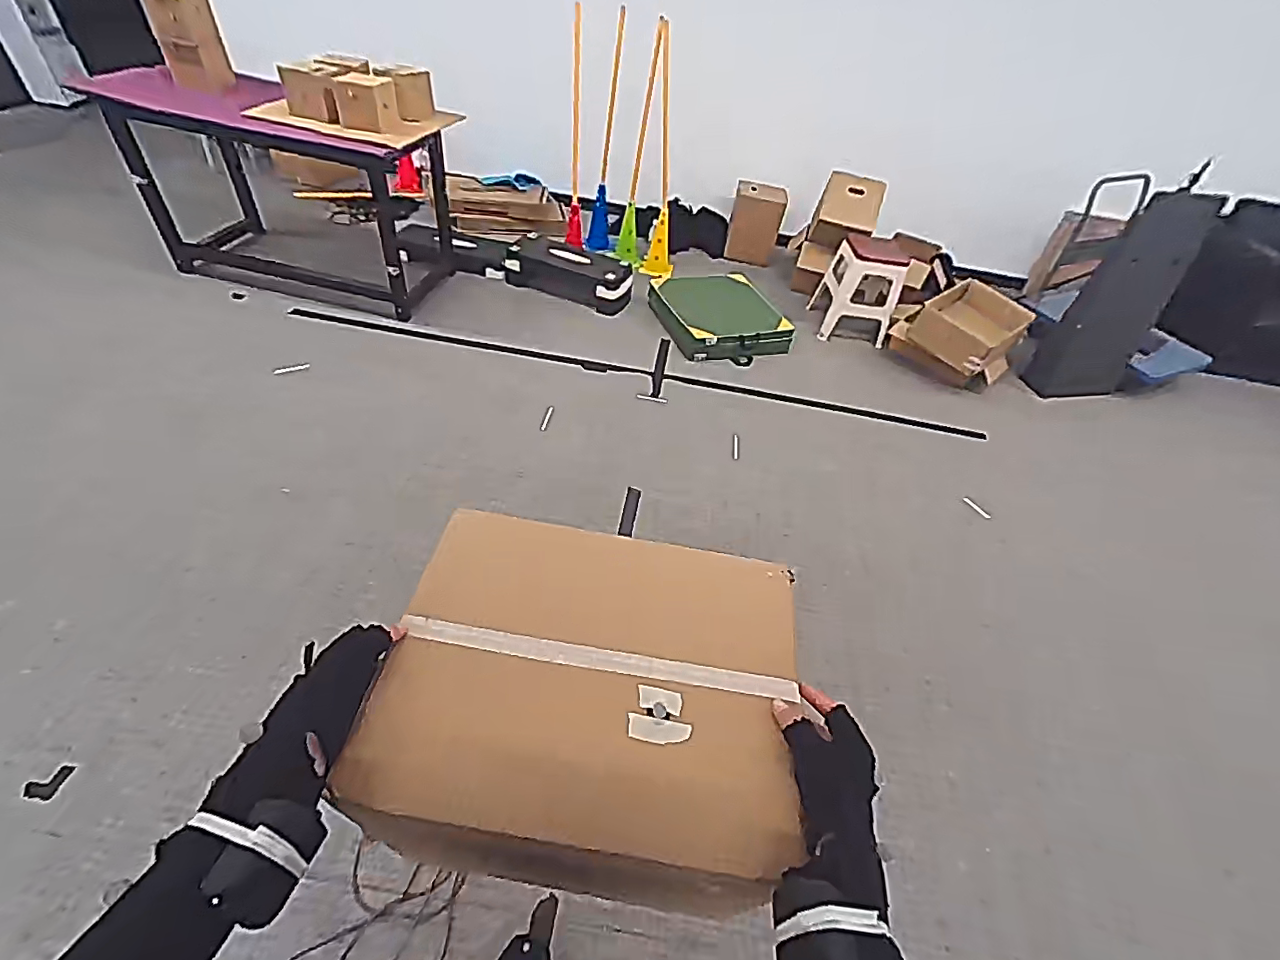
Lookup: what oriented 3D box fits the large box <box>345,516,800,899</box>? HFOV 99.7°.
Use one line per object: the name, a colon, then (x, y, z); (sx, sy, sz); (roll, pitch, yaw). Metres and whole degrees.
large box: (-0.058, 0.283, 0.668); (0.408, 0.320, 0.320); (10, 48, 1)
